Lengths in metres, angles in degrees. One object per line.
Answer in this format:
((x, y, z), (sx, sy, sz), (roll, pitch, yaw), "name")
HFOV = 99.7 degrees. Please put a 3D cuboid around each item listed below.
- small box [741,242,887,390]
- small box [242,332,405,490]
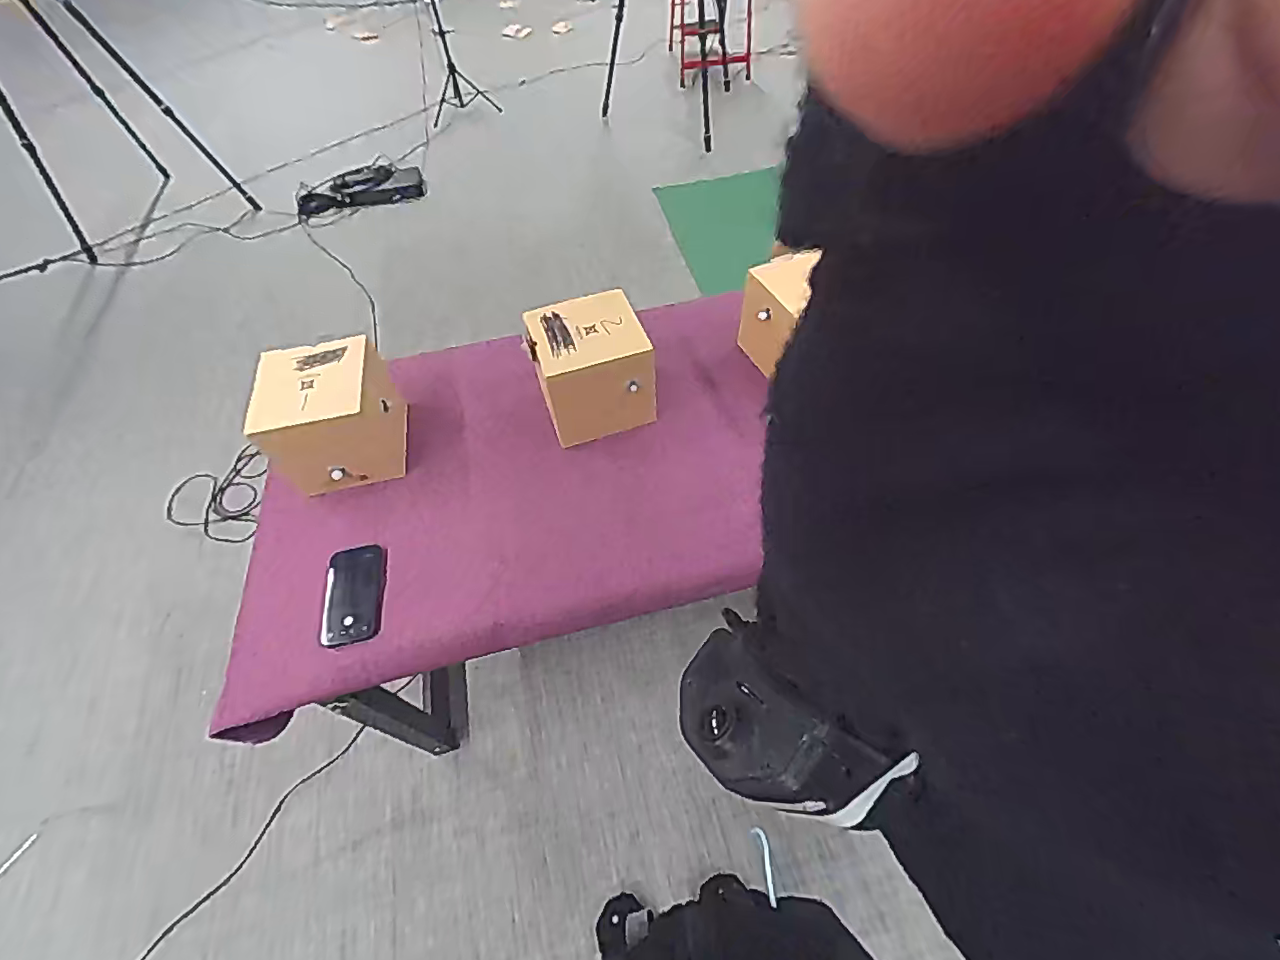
((0.295, -0.282, 0.958), (0.168, 0.176, 0.179), (-22, 56, -11), "small box")
((-0.497, -0.109, 0.880), (0.168, 0.176, 0.179), (-12, 57, -5), "small box")
